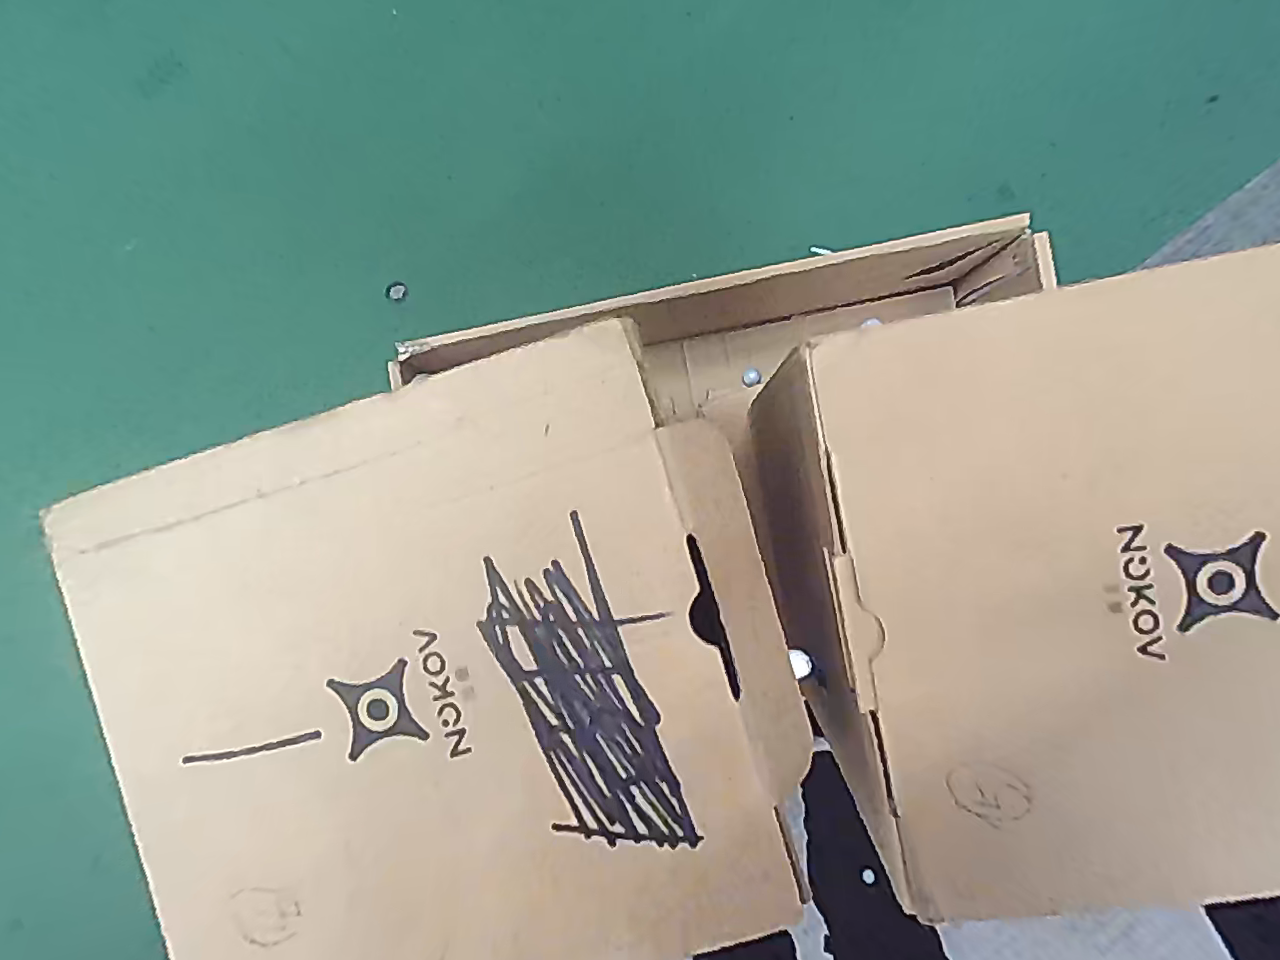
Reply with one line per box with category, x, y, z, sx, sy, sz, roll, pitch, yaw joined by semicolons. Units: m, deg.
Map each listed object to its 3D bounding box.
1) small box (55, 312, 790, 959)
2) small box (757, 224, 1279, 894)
small box;-0.059;0.054;0.230;0.179;0.176;0.168;-18;88;4
small box;0.148;0.021;0.221;0.179;0.176;0.168;-10;90;7
